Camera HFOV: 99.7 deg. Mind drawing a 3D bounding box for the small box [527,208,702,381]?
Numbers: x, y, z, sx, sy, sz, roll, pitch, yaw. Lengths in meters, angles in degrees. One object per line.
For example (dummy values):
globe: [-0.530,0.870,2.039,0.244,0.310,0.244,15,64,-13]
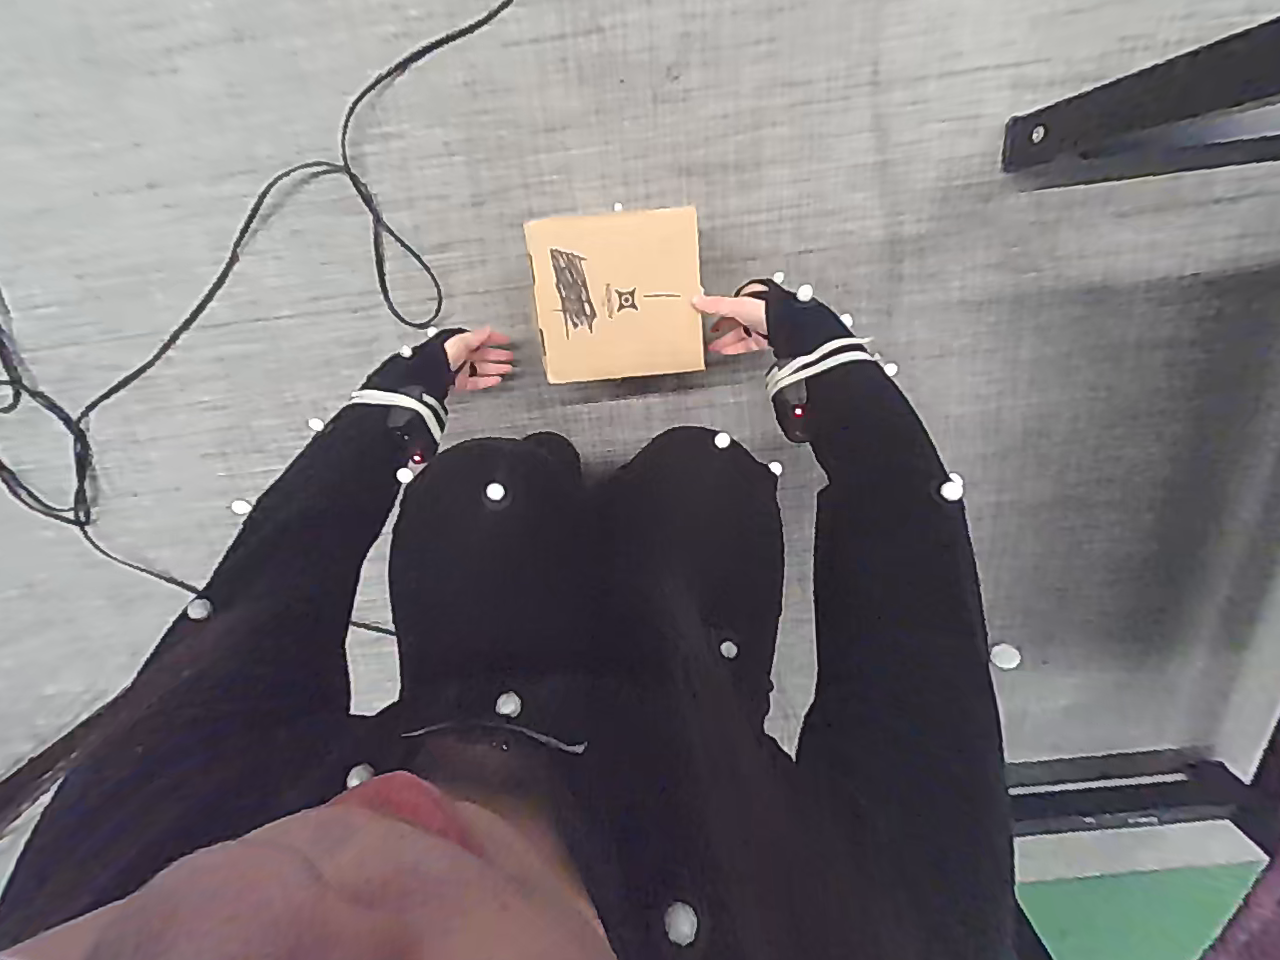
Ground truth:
small box: [-0.025,-0.220,0.644,0.179,0.176,0.168,-5,112,-1]
